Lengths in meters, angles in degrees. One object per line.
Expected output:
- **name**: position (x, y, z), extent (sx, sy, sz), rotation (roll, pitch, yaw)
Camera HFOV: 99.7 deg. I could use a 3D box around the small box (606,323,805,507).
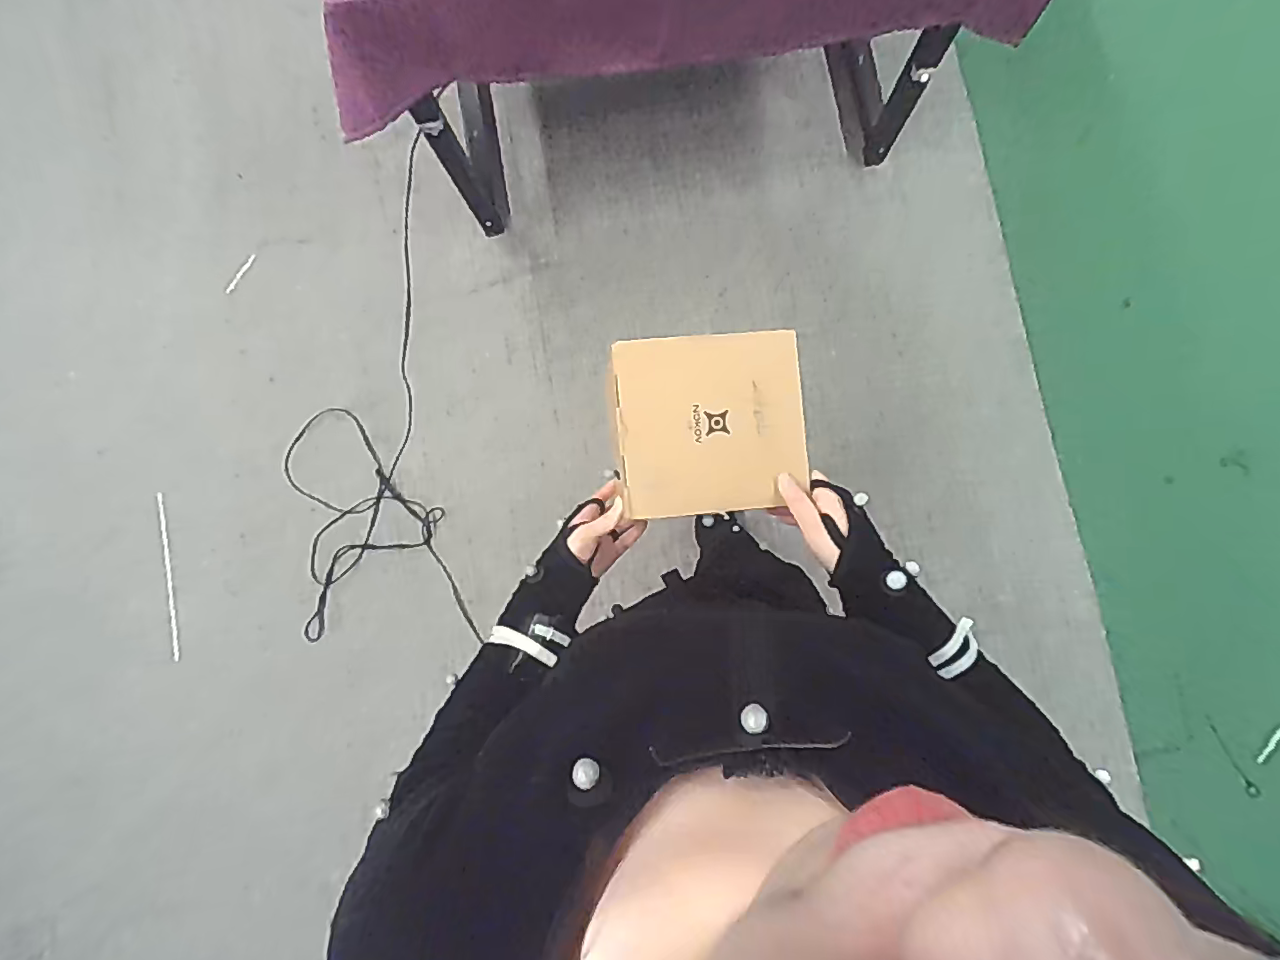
- **small box**: position (0.056, -0.058, 0.574), extent (0.179, 0.176, 0.168), rotation (-4, 90, -5)
